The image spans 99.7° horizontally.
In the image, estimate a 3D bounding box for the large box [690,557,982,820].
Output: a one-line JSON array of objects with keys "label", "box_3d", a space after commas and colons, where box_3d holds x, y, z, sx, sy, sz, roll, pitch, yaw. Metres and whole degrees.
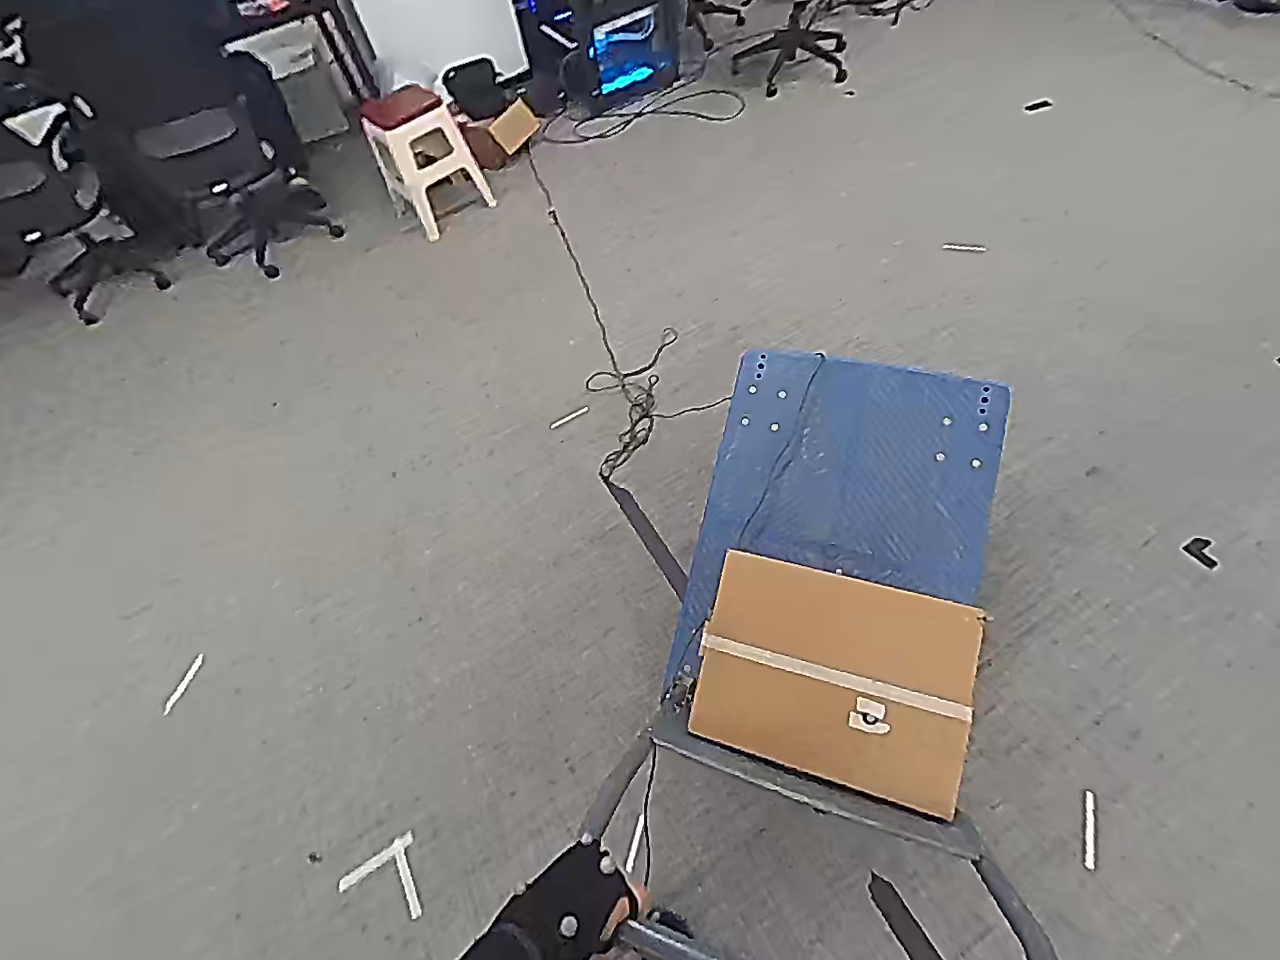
[{"label": "large box", "box_3d": [0.332, 0.339, 0.993, 0.408, 0.320, 0.320, 12, 83, 15]}]
